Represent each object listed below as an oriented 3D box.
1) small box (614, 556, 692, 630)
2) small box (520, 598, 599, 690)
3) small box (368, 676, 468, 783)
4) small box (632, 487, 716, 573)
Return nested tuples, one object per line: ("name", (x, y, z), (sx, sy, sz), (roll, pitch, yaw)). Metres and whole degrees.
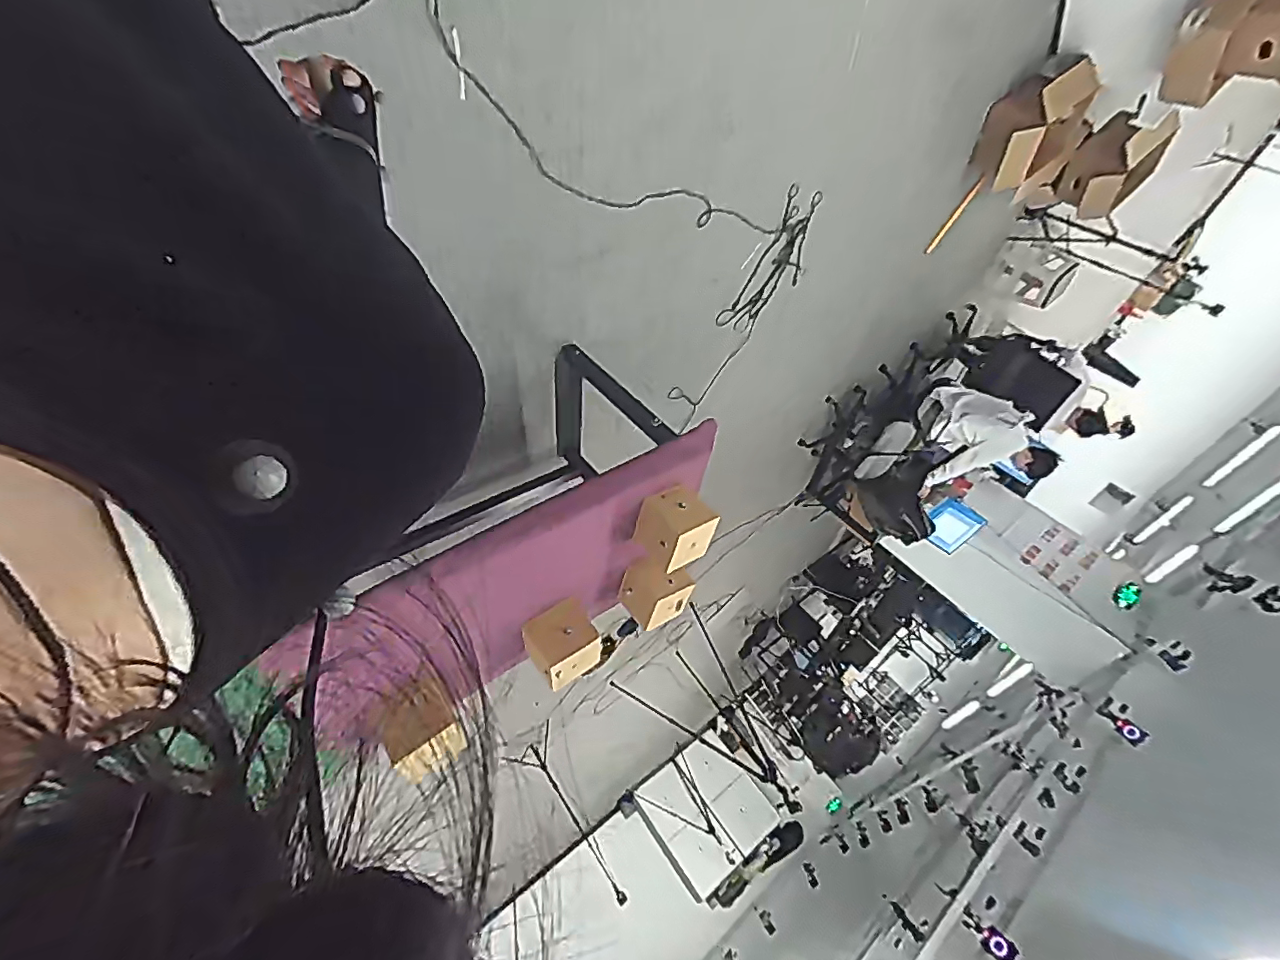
("small box", (0.041, 0.373, 1.848), (0.179, 0.176, 0.168), (-16, 138, -38))
("small box", (-0.246, 0.494, 1.648), (0.179, 0.176, 0.168), (-28, 144, -29))
("small box", (-0.582, 0.651, 1.424), (0.168, 0.176, 0.179), (-31, 146, -26))
("small box", (0.095, 0.141, 1.634), (0.168, 0.176, 0.179), (-21, 142, -35))
